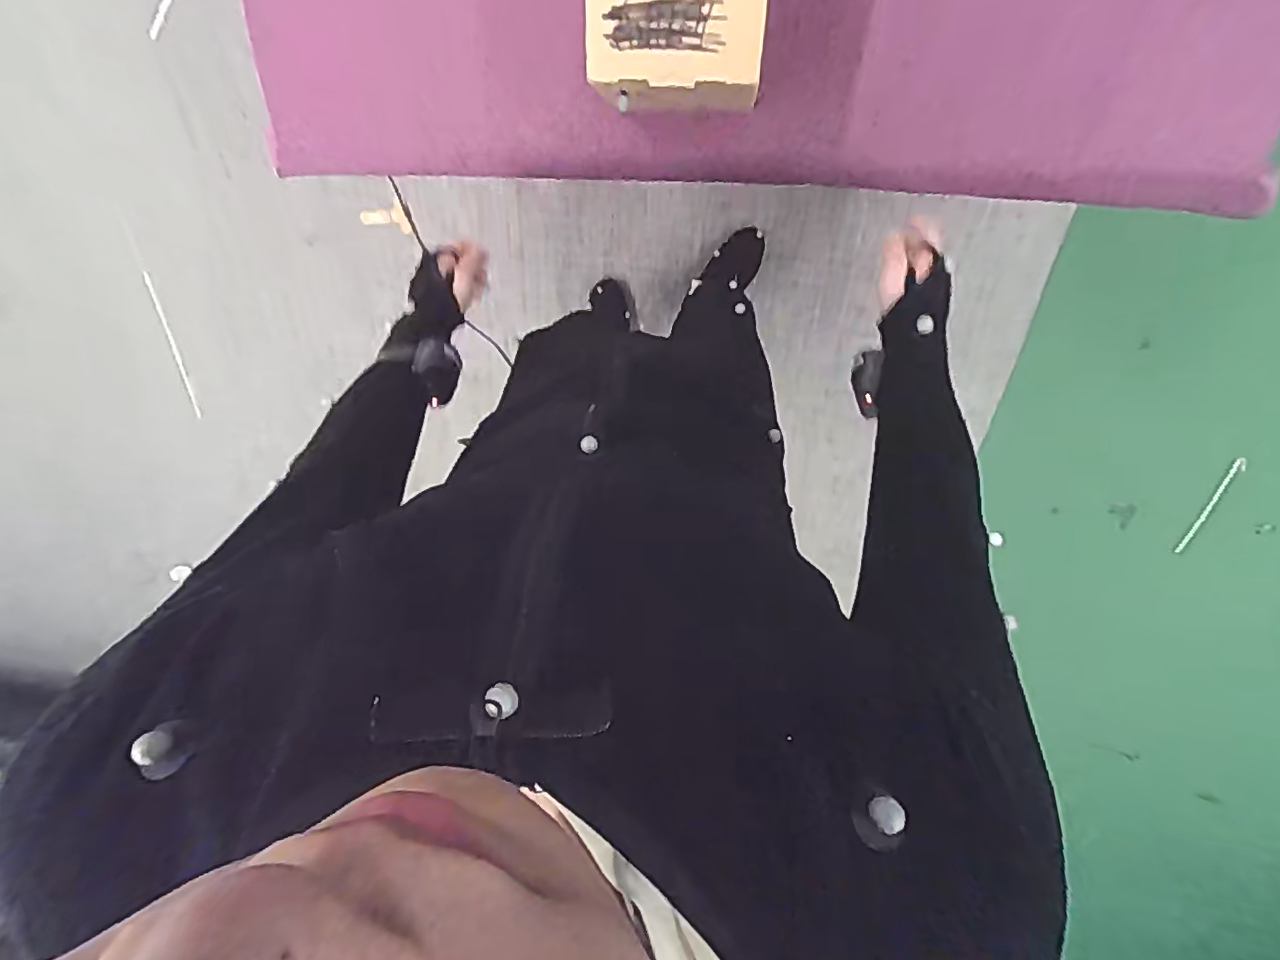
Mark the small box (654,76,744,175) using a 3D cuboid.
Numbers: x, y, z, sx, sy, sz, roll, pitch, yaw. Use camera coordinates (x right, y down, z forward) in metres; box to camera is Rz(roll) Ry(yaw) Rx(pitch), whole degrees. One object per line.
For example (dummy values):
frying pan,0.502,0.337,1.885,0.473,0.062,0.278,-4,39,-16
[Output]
small box,0.131,-0.779,1.201,0.179,0.176,0.168,7,118,6
